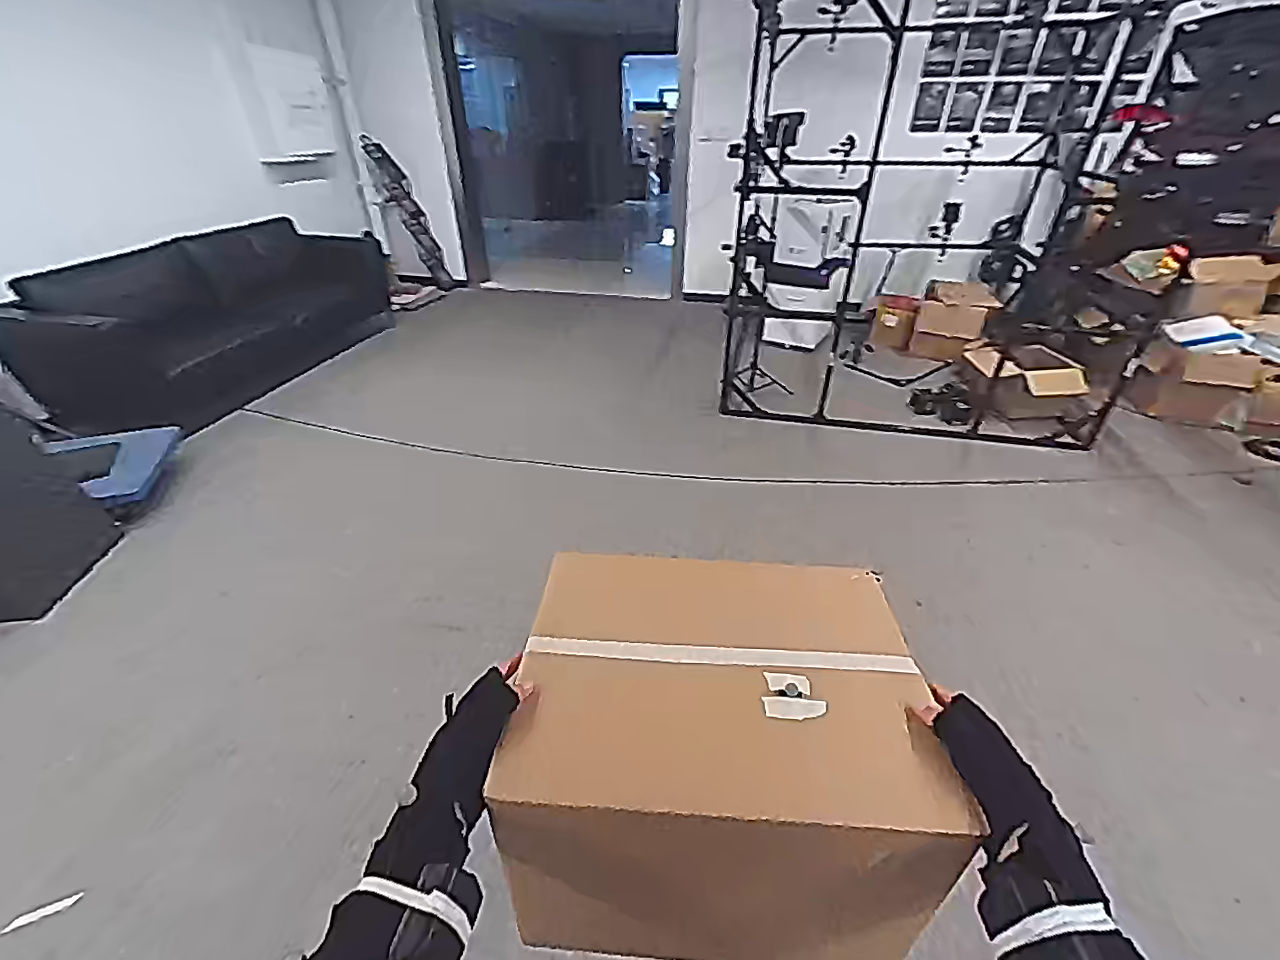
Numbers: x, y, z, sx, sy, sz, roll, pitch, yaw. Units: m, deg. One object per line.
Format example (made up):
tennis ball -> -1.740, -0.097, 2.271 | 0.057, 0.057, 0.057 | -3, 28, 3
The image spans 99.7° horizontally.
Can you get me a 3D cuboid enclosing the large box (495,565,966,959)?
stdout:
large box -> 0.075, 0.324, 0.651 | 0.408, 0.320, 0.320 | 3, 32, 2
